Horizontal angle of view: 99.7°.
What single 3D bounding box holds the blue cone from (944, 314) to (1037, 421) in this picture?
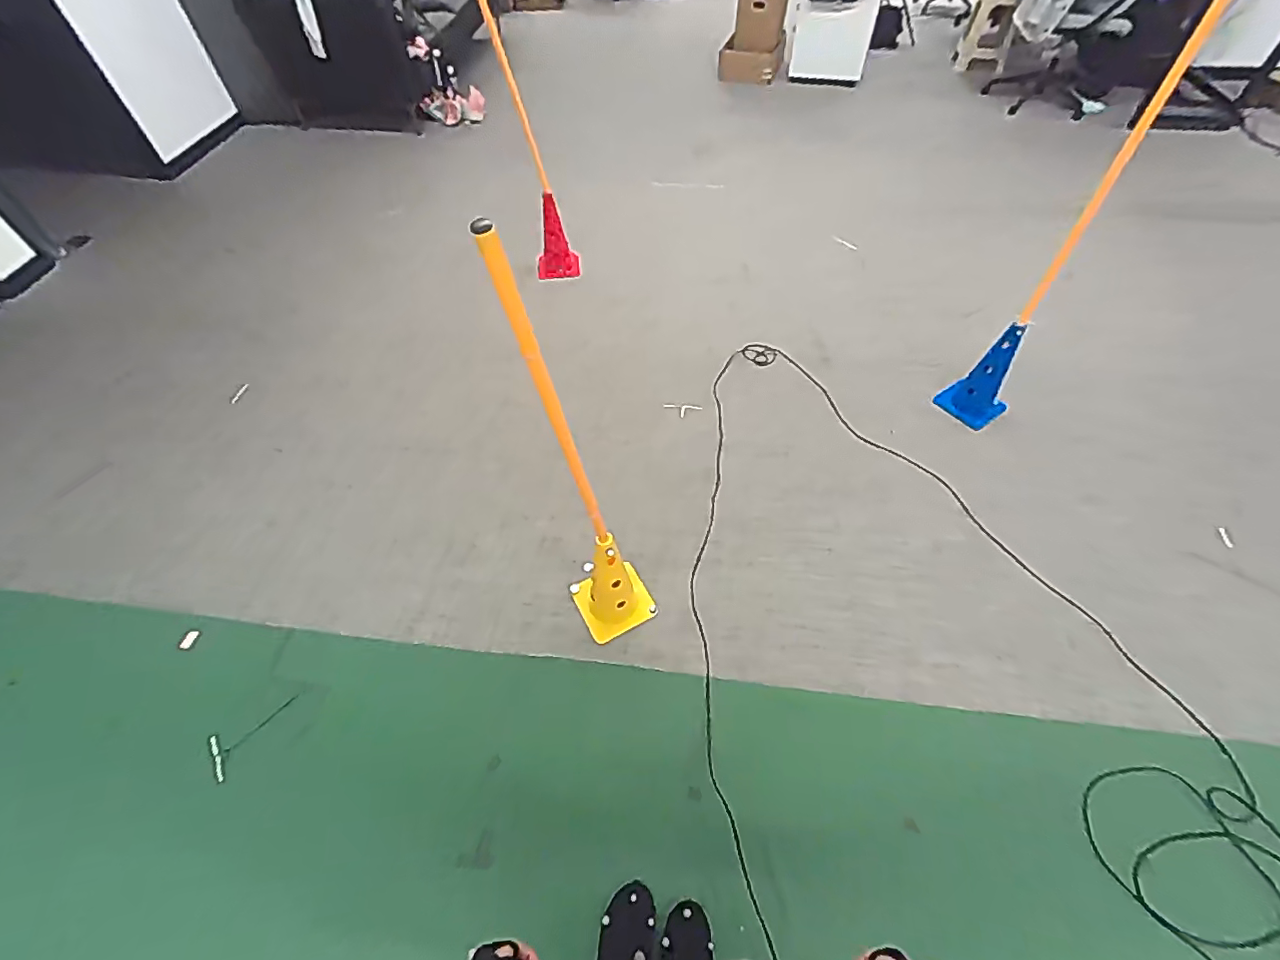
[{"bbox_3d":[1.233,-0.406,1.859,0.193,0.380,0.192,-31,58,-22],"label":"blue cone"}]
